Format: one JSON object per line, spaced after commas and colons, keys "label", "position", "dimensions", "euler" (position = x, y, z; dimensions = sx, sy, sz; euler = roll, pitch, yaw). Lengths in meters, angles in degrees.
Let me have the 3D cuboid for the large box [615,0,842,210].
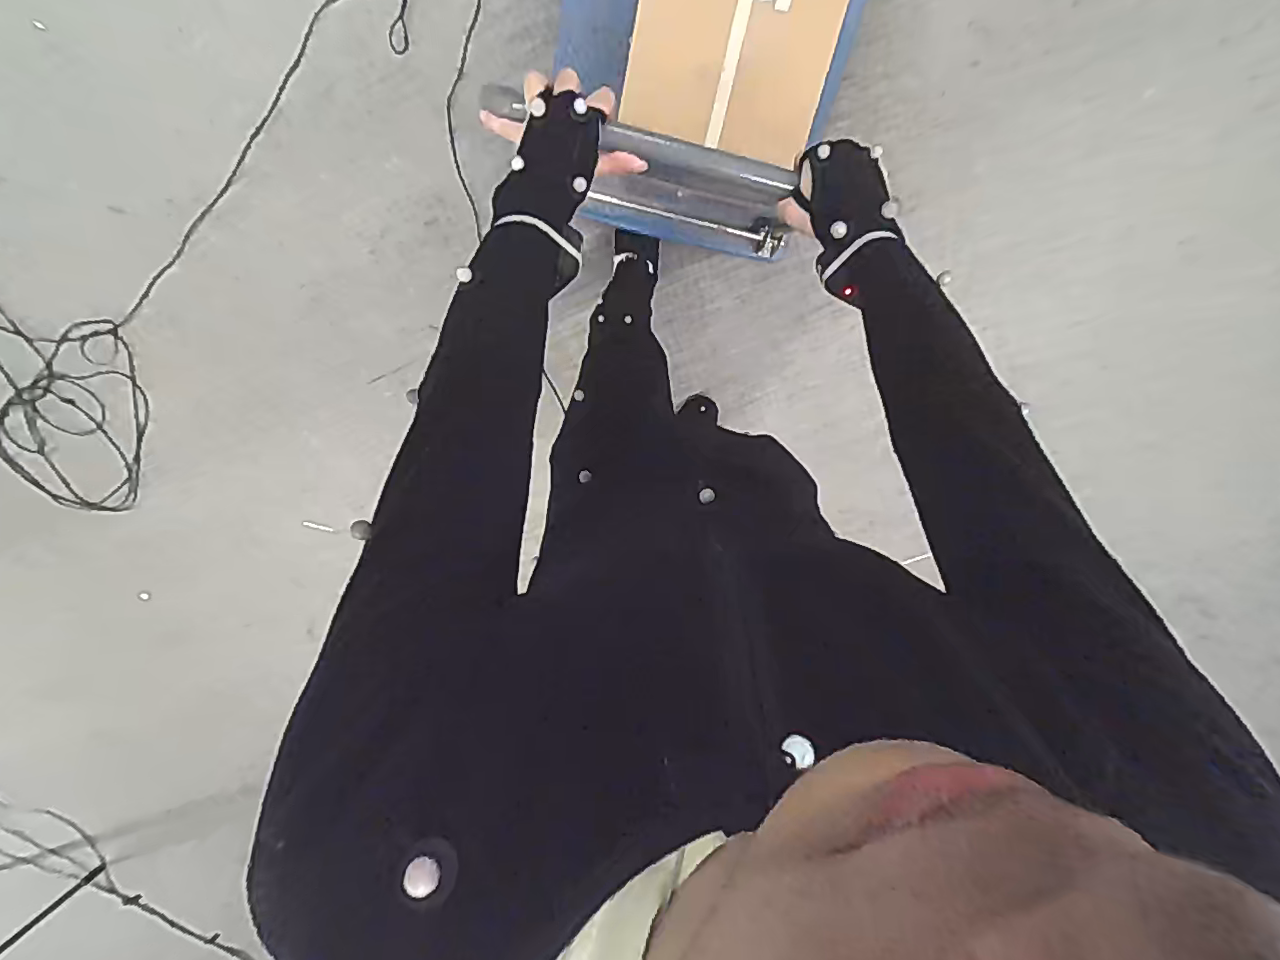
{"label": "large box", "position": [0.149, -0.757, 0.996], "dimensions": [0.320, 0.320, 0.408], "euler": [12, 112, -5]}
